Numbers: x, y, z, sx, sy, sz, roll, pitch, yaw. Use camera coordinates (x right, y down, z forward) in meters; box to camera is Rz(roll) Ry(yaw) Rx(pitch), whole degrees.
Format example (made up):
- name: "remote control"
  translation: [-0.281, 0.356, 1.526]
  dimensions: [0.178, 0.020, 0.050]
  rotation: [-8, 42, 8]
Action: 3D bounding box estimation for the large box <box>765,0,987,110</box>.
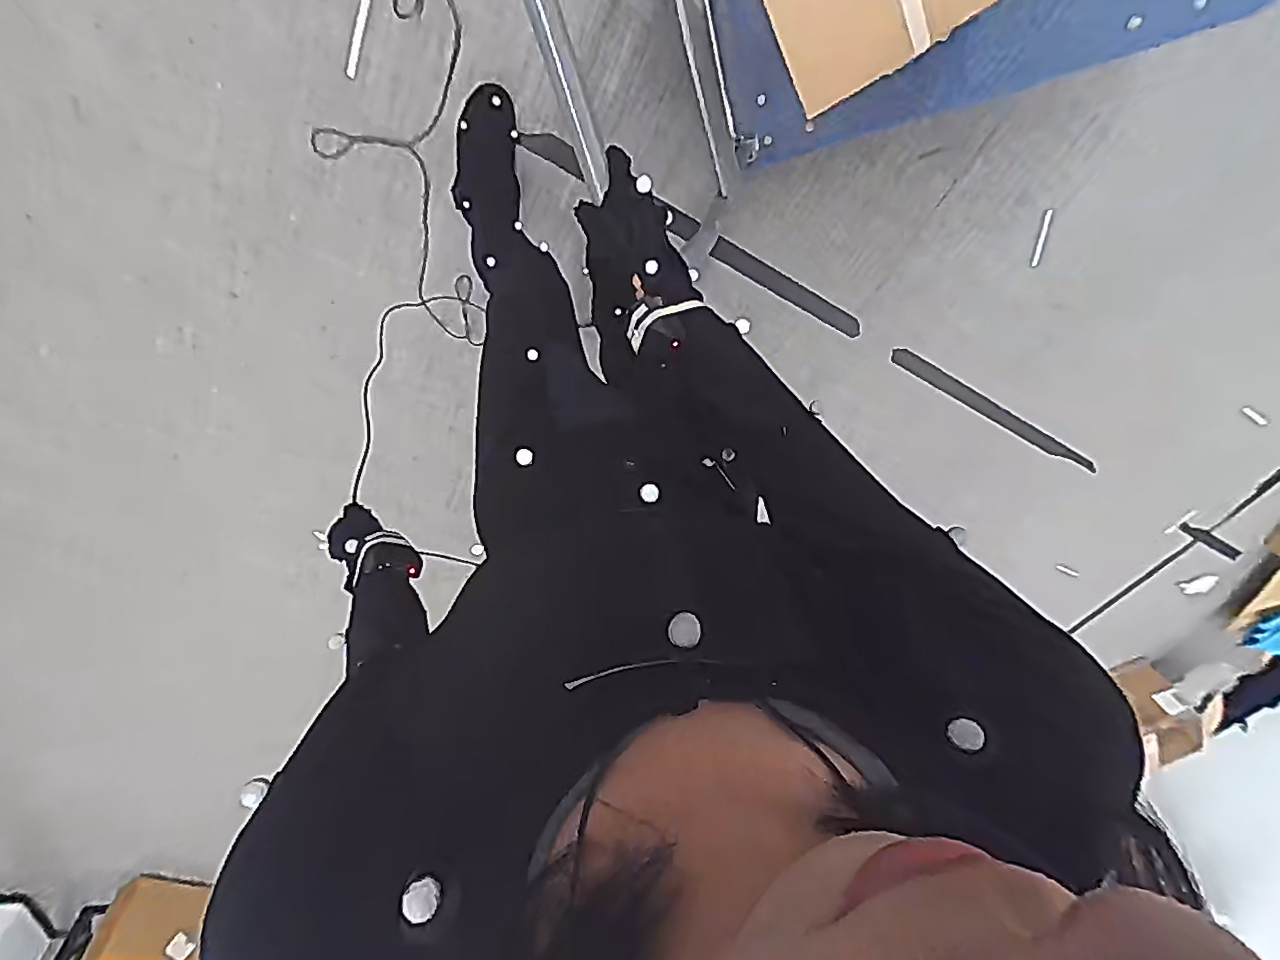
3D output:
- name: "large box"
  translation: [0.292, -0.813, 0.720]
  dimensions: [0.320, 0.320, 0.408]
  rotation: [-20, 125, 31]
